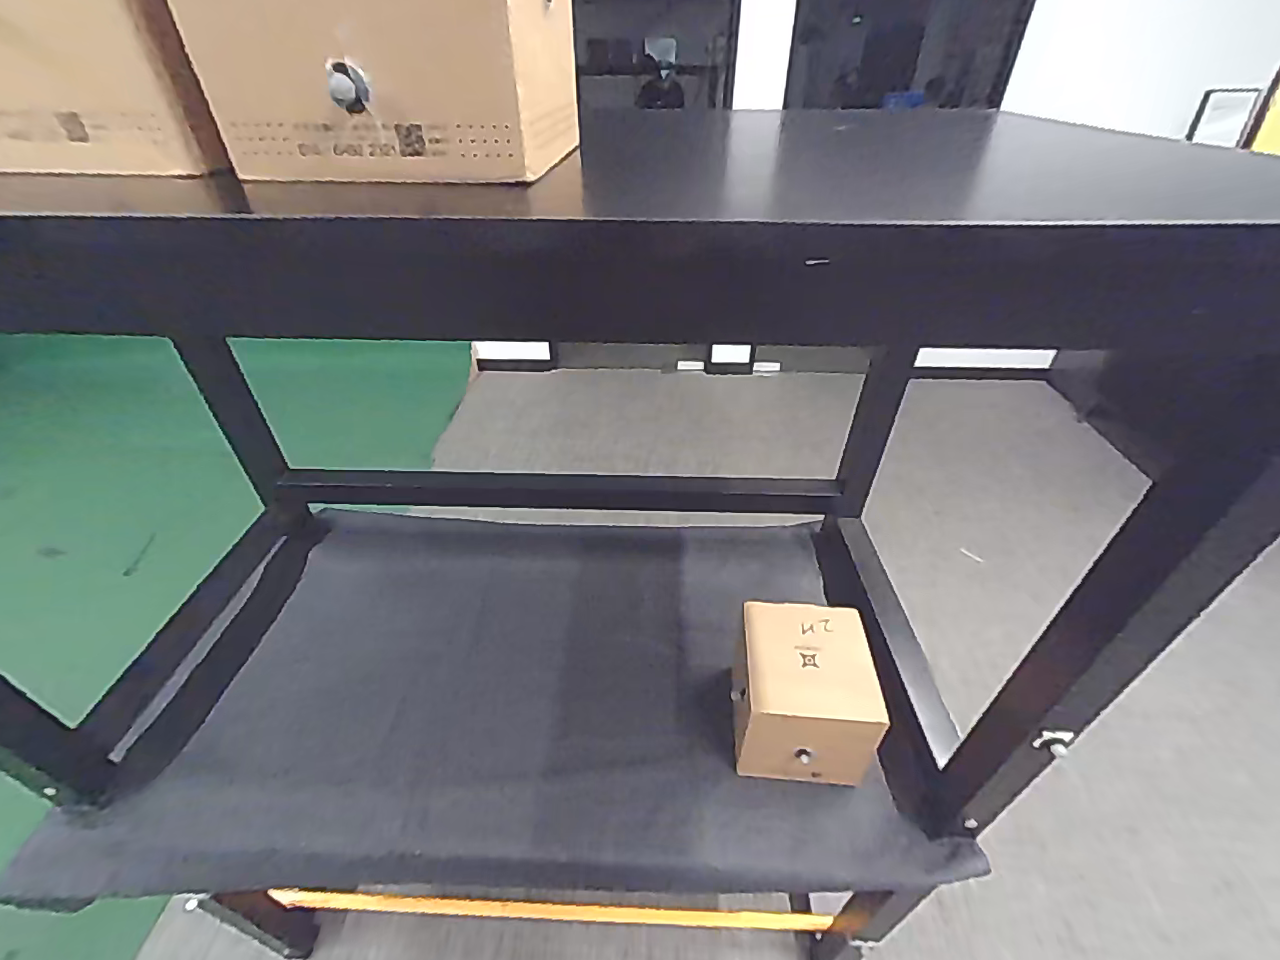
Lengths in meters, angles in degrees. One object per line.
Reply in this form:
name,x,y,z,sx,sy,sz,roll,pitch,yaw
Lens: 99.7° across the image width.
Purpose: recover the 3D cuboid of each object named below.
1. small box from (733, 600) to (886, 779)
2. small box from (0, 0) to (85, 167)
small box,0.225,0.297,0.767,0.168,0.176,0.179,4,37,4
small box,-0.523,-0.290,0.338,0.168,0.176,0.179,2,39,3
